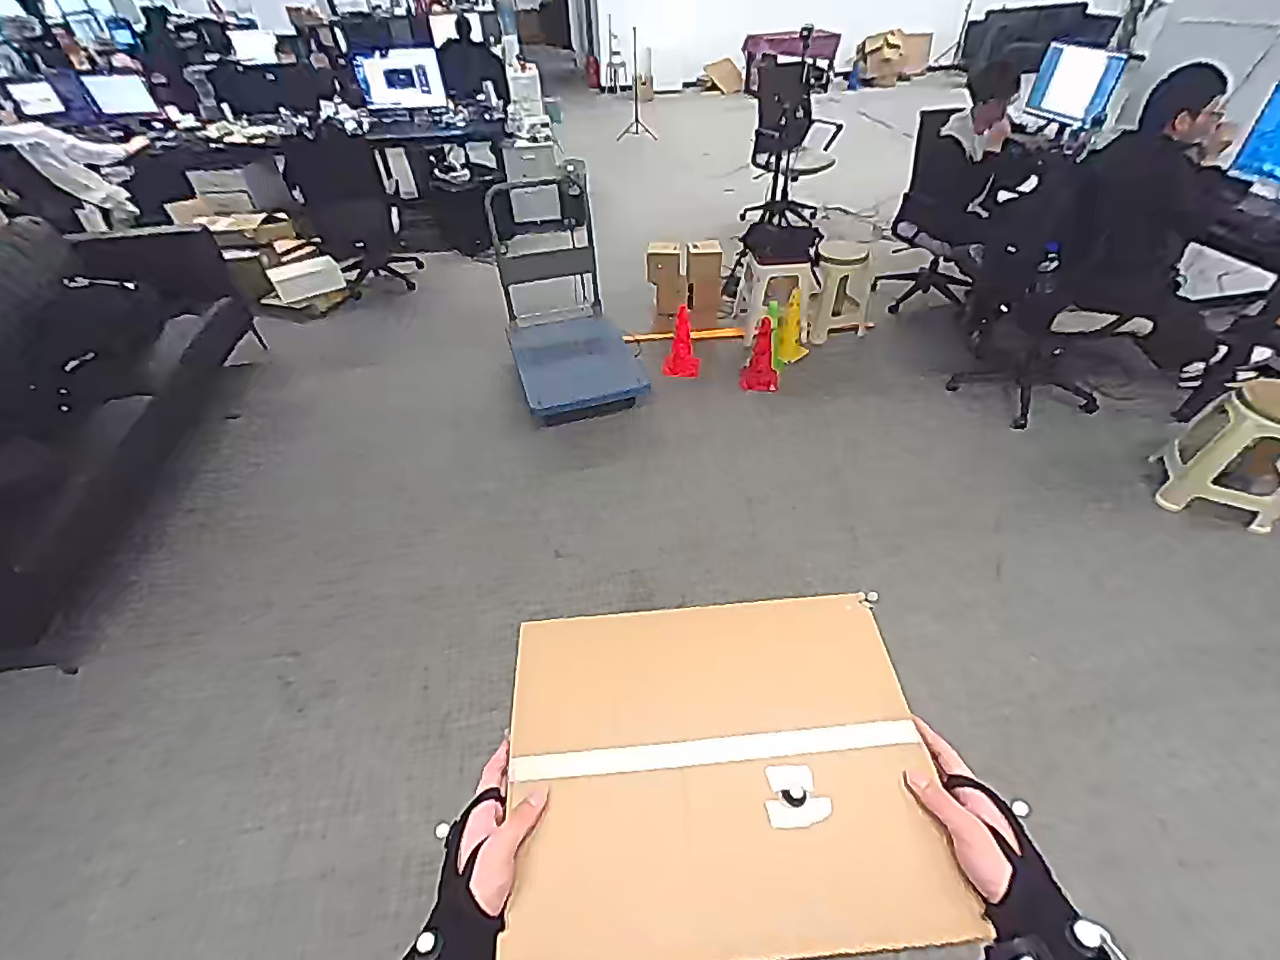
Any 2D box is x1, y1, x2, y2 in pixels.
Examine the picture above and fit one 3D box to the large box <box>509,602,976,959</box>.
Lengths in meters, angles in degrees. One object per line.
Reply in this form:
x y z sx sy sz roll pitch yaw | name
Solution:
0.079 0.377 0.654 0.408 0.320 0.320 -5 49 -1 | large box
